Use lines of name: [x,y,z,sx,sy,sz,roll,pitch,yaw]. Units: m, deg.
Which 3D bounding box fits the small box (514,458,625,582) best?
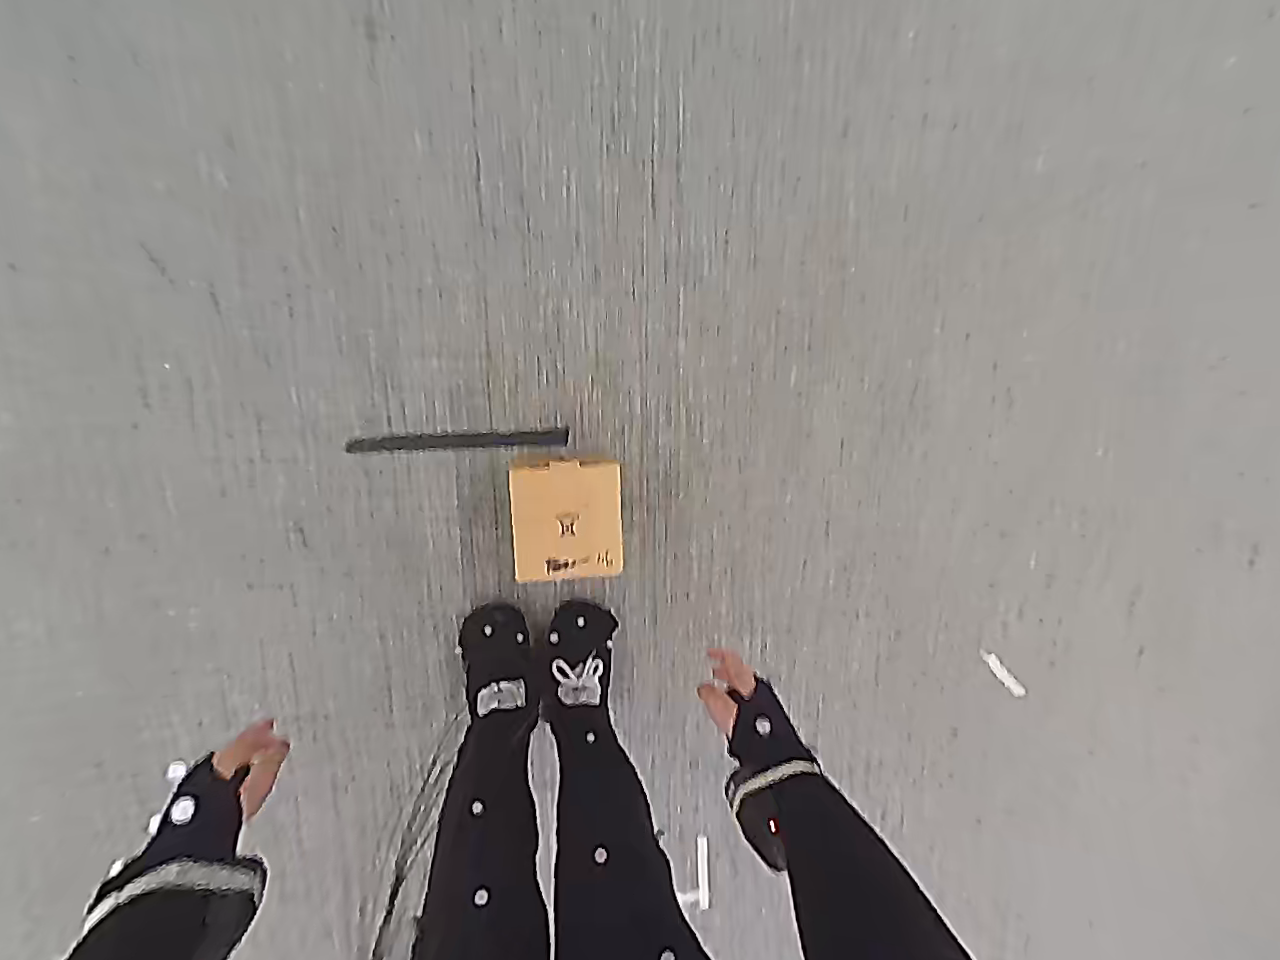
small box: [-0.121,0.056,0.896,0.168,0.176,0.179,-3,98,-10]
